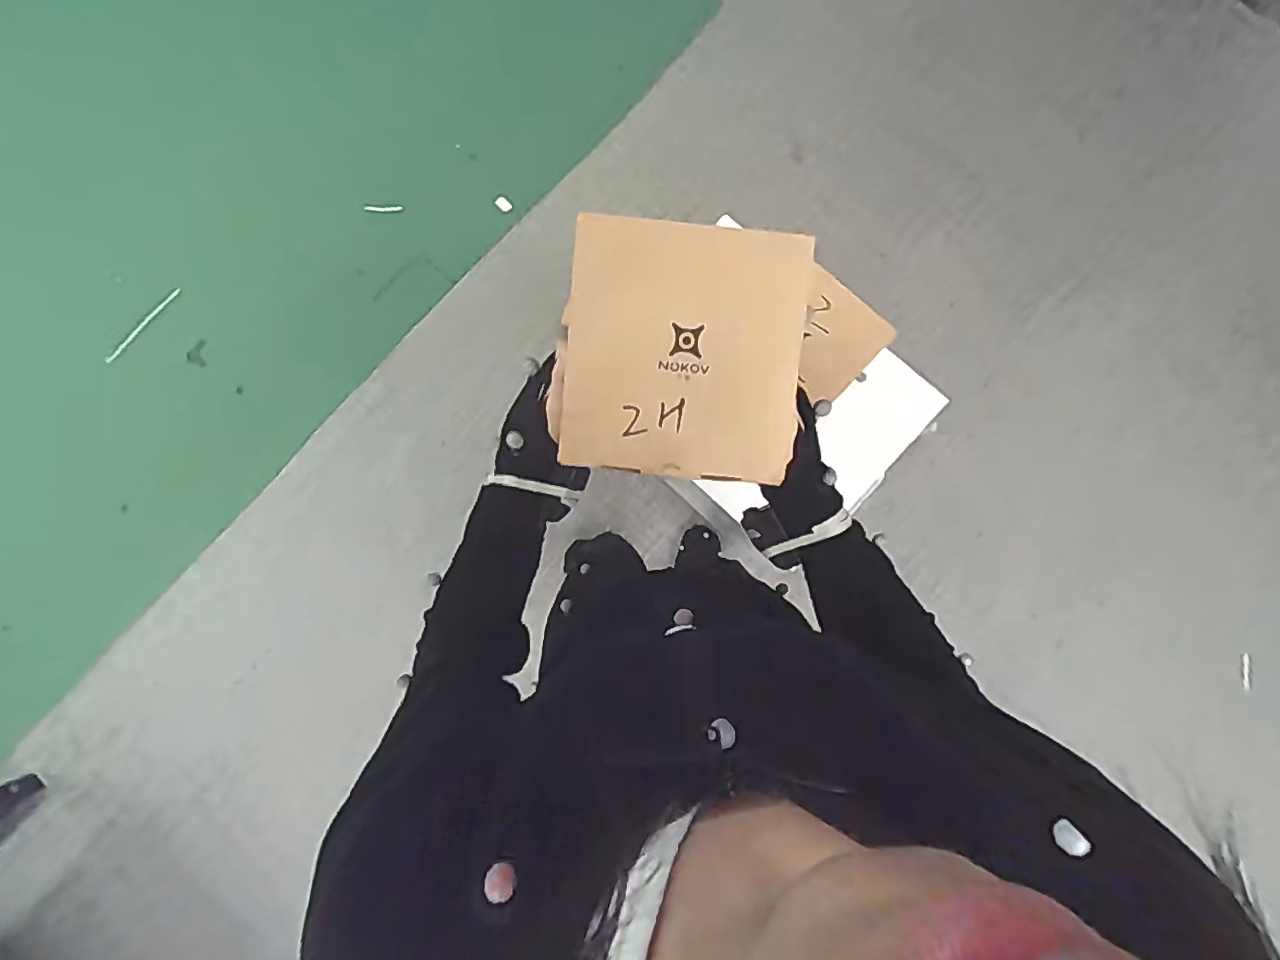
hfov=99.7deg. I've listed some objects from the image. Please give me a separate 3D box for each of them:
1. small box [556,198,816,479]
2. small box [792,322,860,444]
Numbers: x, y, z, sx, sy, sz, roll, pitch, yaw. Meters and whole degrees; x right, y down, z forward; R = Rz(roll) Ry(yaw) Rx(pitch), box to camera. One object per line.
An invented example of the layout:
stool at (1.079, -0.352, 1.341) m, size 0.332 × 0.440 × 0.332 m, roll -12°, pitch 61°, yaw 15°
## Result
small box at (0.028, -0.102, 0.443) m, size 0.168 × 0.176 × 0.179 m, roll 4°, pitch 97°, yaw -1°
small box at (0.194, -0.136, 0.834) m, size 0.179 × 0.176 × 0.168 m, roll -45°, pitch 83°, yaw -2°
